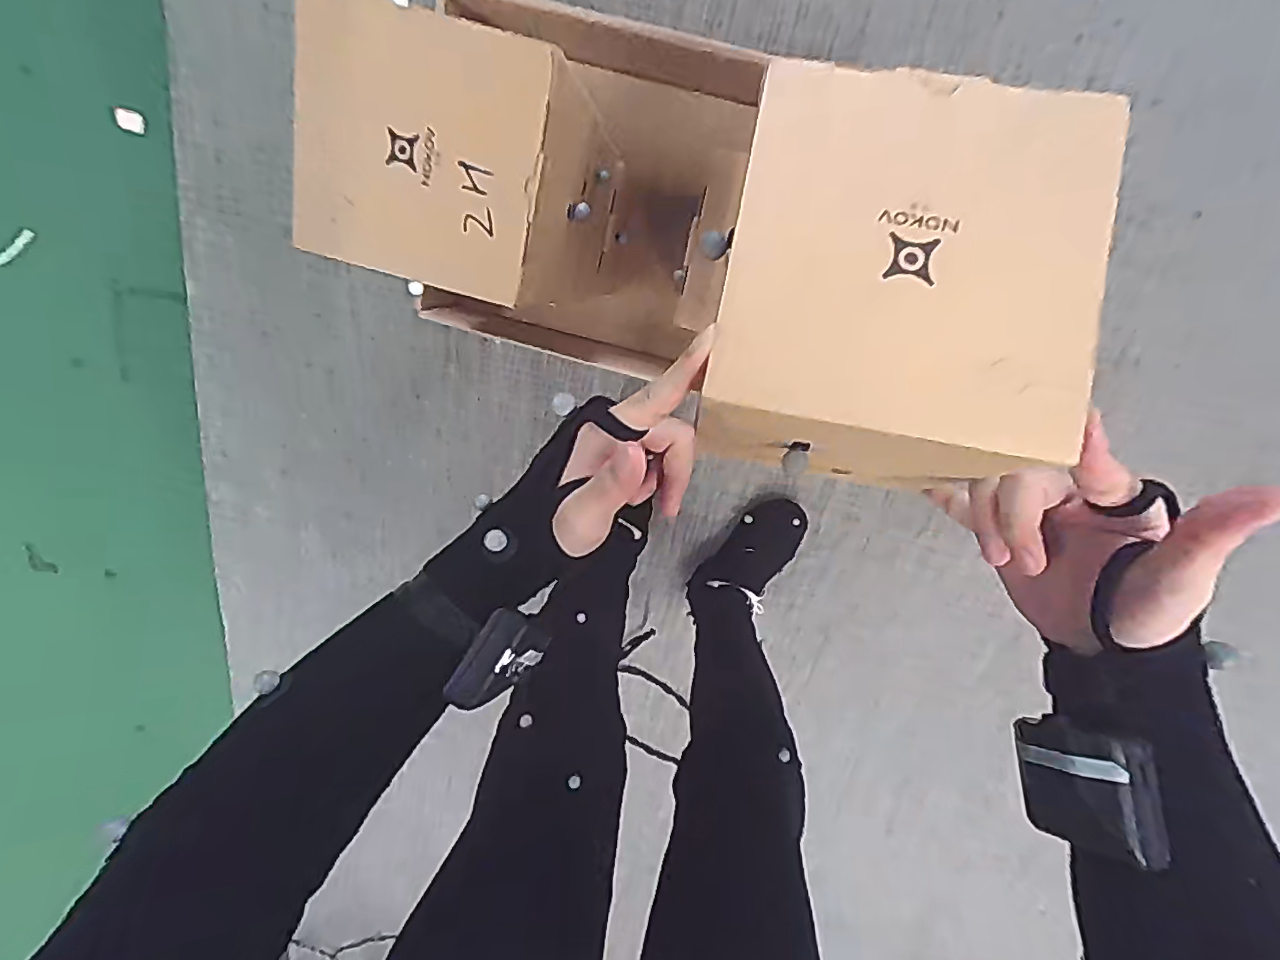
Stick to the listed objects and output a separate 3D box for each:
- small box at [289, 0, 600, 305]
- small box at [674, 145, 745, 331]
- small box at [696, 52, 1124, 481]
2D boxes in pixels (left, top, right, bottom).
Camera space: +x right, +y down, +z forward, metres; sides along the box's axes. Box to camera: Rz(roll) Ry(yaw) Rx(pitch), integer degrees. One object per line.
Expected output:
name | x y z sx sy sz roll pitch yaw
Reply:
small box | -0.145 -0.249 0.443 0.179 0.176 0.168 16 111 0
small box | 0.145 -0.239 0.589 0.179 0.176 0.168 14 113 2
small box | 0.131 -0.102 0.327 0.168 0.176 0.179 11 84 6
